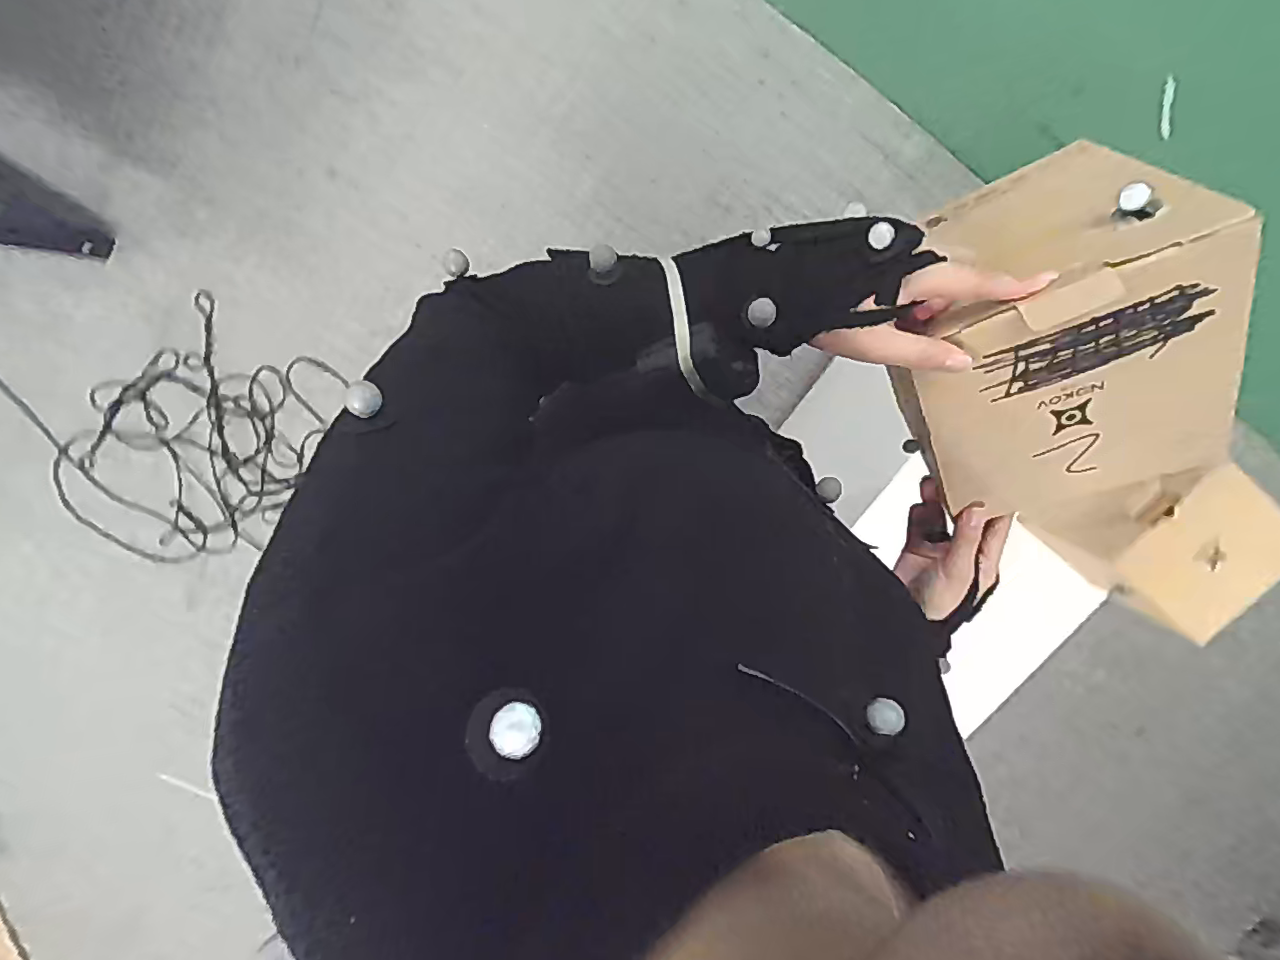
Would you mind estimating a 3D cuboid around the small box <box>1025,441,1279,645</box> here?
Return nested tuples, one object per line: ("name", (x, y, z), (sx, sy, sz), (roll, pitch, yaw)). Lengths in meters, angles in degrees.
("small box", (0.667, 0.069, 0.702), (0.179, 0.176, 0.168), (37, 102, -9))
